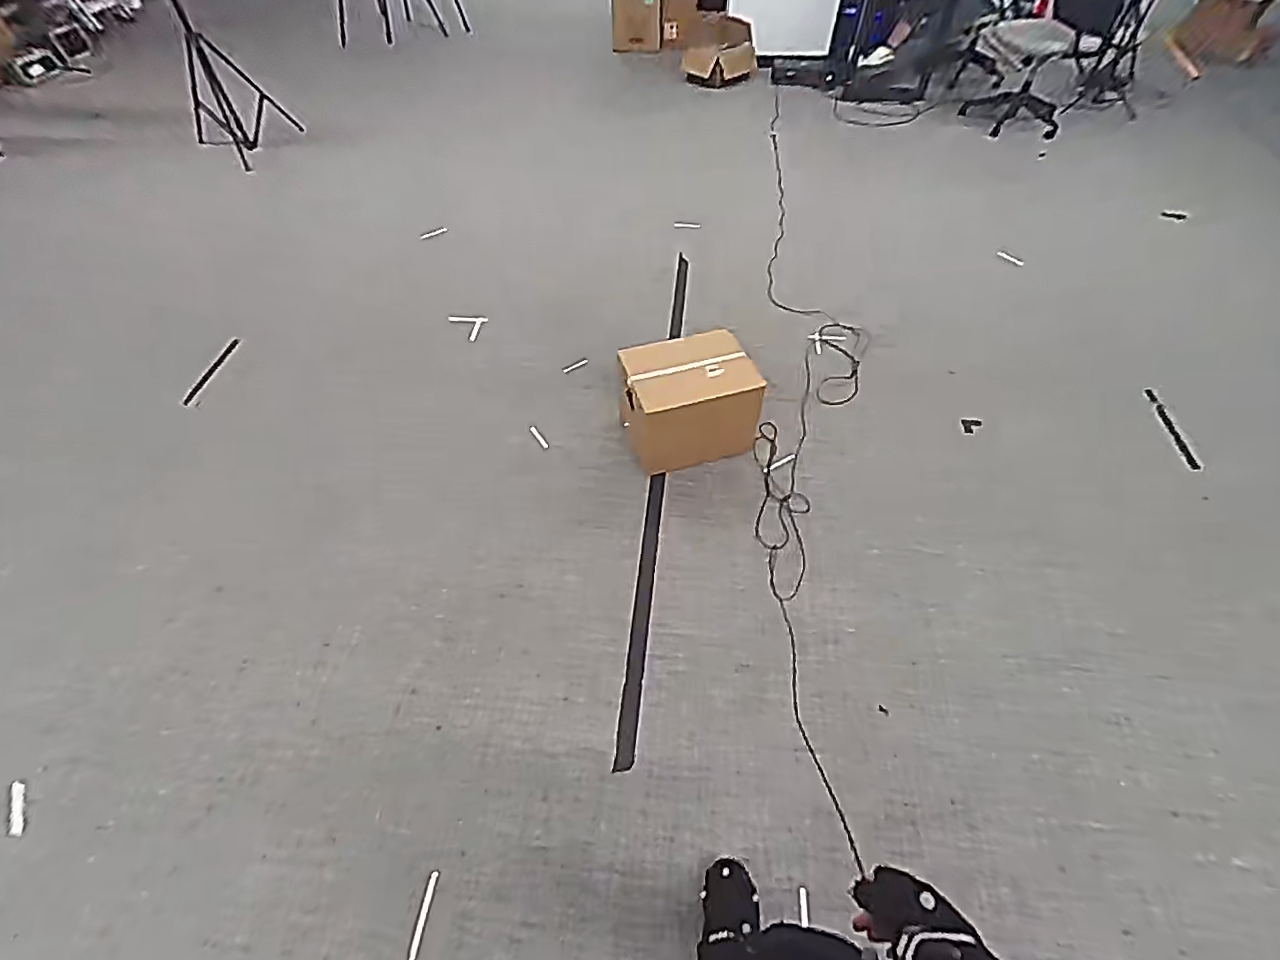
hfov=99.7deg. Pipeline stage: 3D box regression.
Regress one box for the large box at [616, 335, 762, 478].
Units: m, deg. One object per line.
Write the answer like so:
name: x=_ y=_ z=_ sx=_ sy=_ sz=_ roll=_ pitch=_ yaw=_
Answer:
large box: x=0.154 y=-0.254 z=1.870 sx=0.408 sy=0.320 sz=0.320 roll=-14 pitch=53 yaw=-11
